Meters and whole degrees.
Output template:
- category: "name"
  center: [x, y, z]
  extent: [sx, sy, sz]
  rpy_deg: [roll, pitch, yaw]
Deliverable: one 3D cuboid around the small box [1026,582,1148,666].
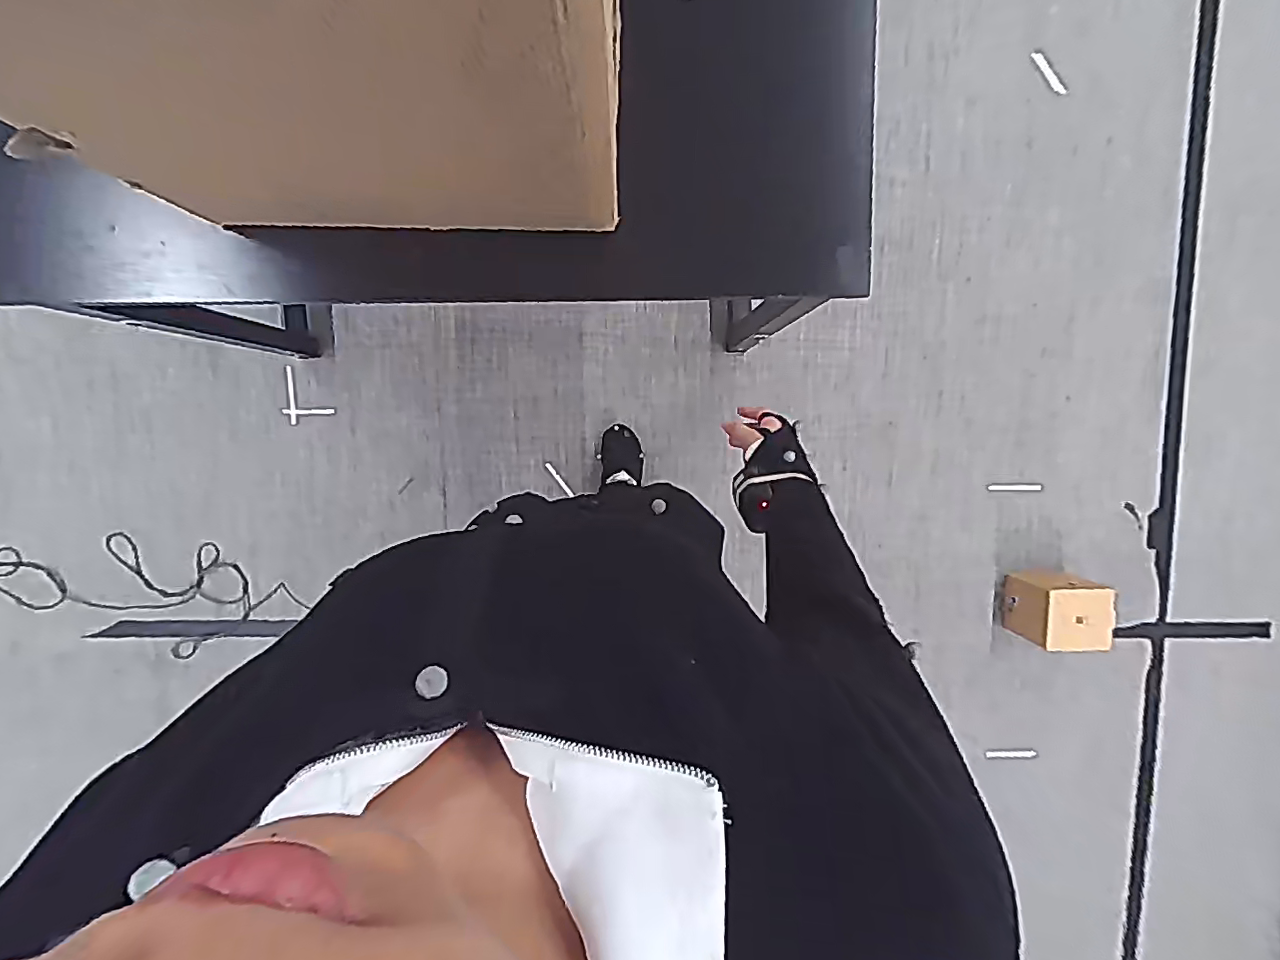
- category: "small box"
  center: [1.155, 0.369, 1.407]
  extent: [0.179, 0.176, 0.168]
  rpy_deg: [-2, 95, -1]
